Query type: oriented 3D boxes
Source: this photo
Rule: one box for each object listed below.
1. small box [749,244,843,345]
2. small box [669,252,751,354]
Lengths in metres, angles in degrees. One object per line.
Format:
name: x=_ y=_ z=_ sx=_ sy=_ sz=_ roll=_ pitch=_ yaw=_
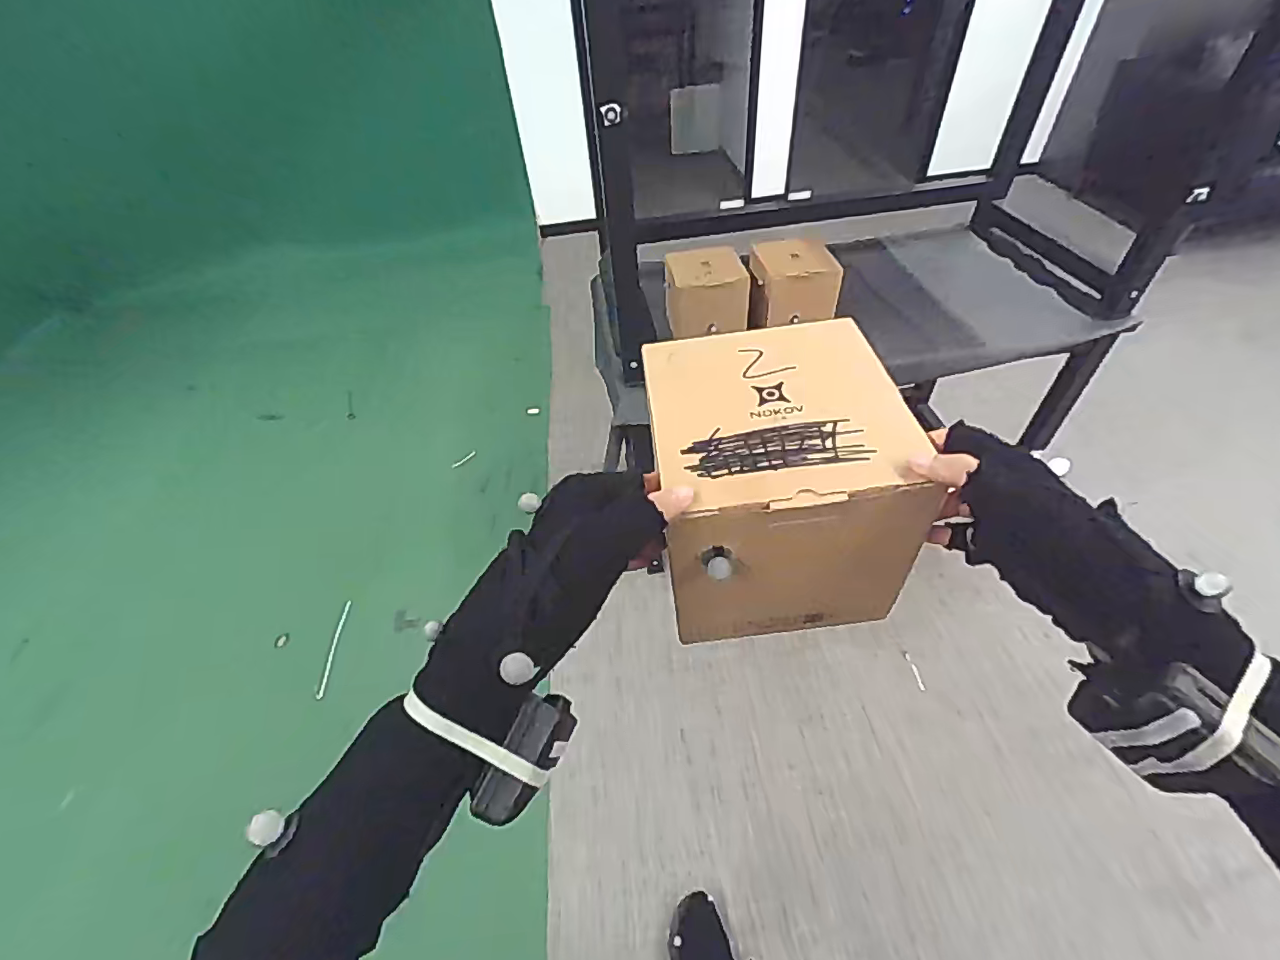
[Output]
small box: x=0.368 y=-0.449 z=1.312 sx=0.168 sy=0.176 sz=0.179 roll=-8 pitch=46 yaw=-1
small box: x=0.161 y=-0.428 z=1.307 sx=0.168 sy=0.176 sz=0.179 roll=-8 pitch=46 yaw=-2
